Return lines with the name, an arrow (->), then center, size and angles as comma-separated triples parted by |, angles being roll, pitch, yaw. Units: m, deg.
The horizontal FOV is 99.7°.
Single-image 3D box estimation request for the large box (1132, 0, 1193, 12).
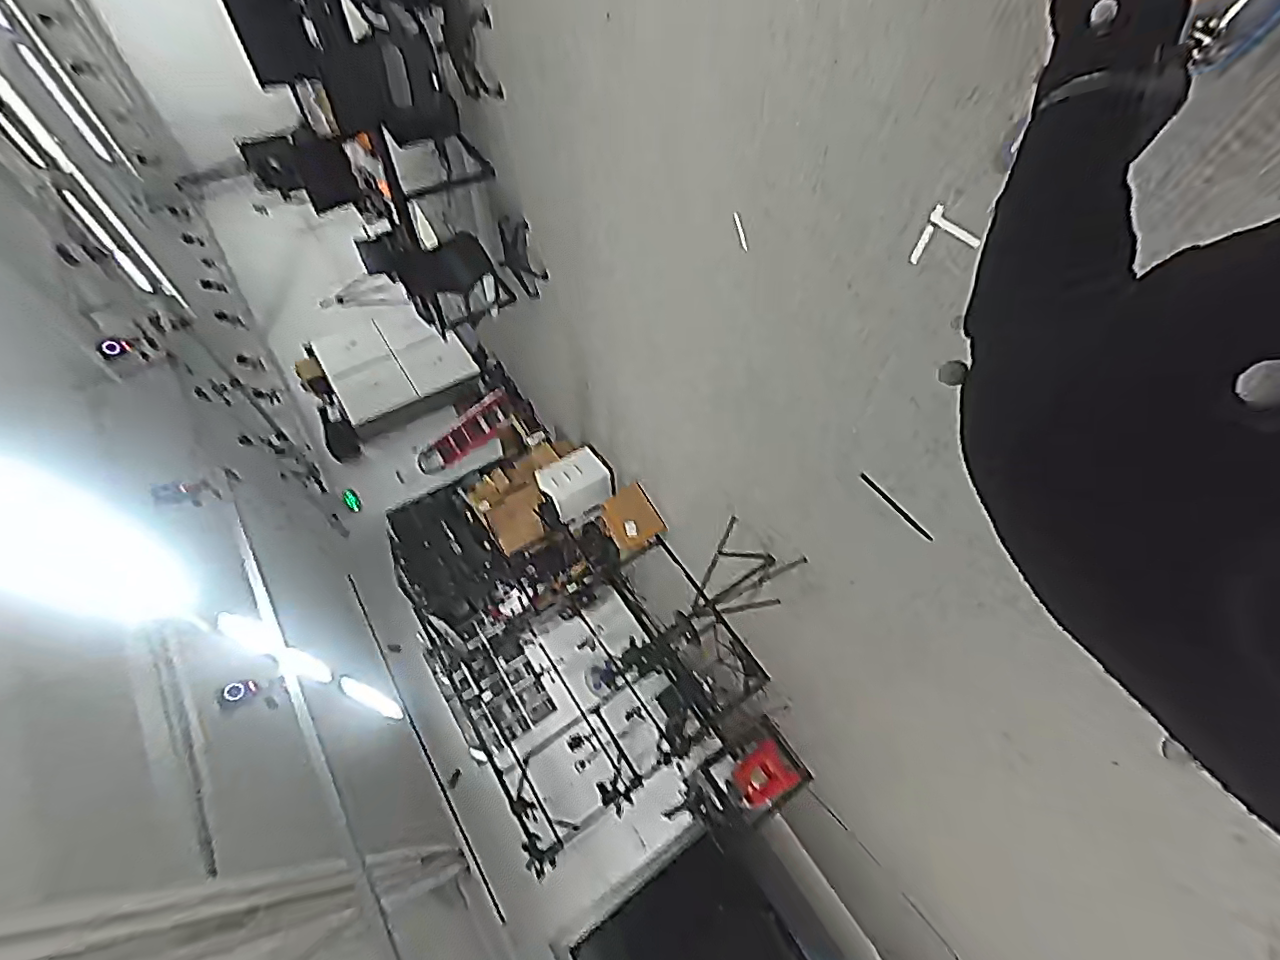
large box -> 0.719, -0.858, 0.605 | 0.320, 0.320, 0.408 | 54, 158, 15
